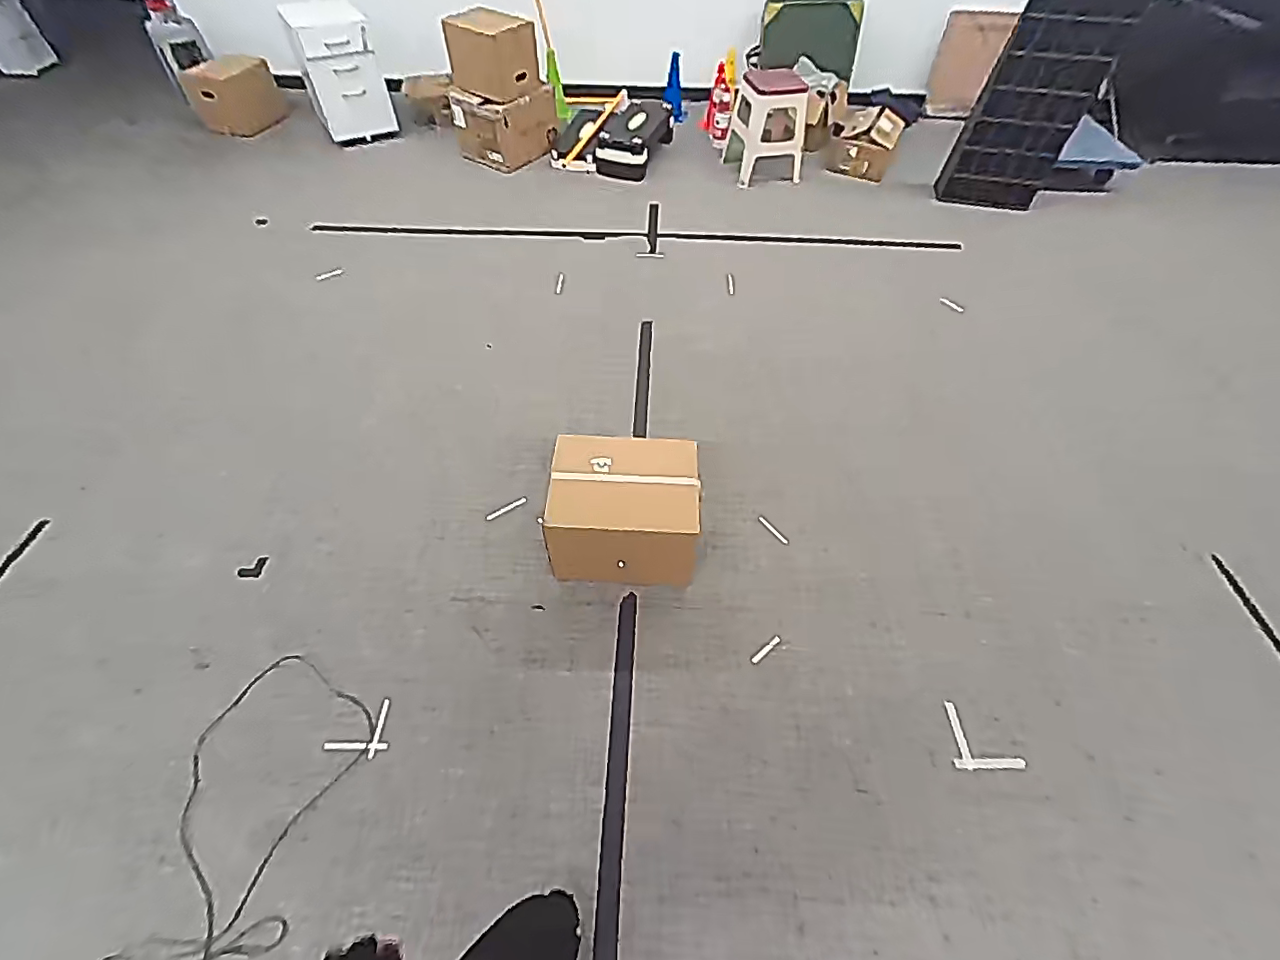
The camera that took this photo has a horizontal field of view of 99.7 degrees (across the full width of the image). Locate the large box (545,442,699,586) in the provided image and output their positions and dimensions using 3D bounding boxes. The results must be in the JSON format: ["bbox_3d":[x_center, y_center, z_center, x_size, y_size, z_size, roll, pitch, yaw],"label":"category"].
[{"bbox_3d":[-0.041,0.105,1.590,0.408,0.320,0.320,2,53,1],"label":"large box"}]
